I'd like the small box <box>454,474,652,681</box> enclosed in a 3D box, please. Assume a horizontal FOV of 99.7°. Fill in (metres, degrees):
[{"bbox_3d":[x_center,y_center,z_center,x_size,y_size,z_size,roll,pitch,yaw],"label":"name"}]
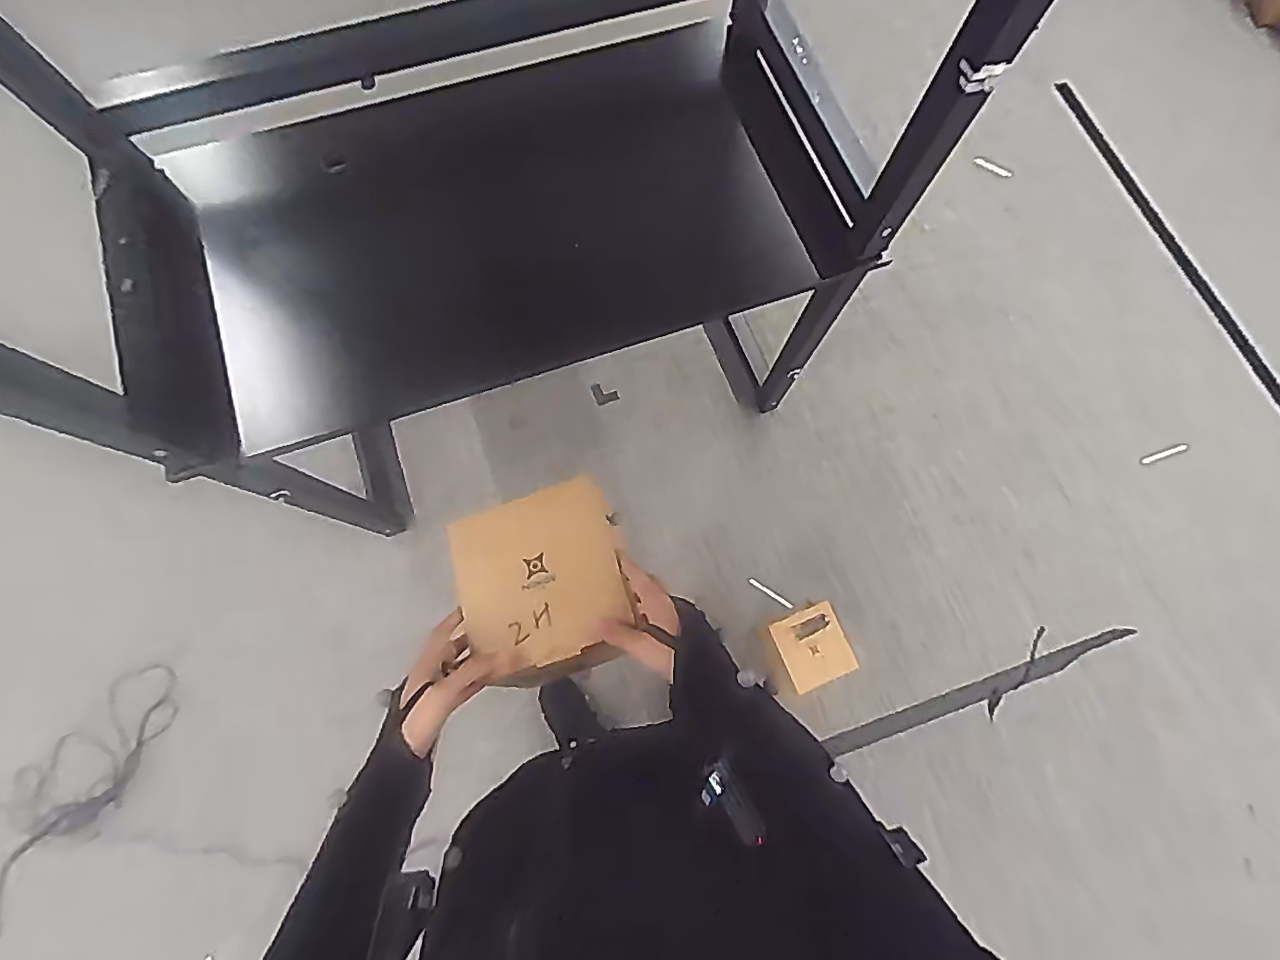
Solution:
[{"bbox_3d":[-0.092,0.121,0.623,0.168,0.176,0.179,-18,68,0],"label":"small box"}]
